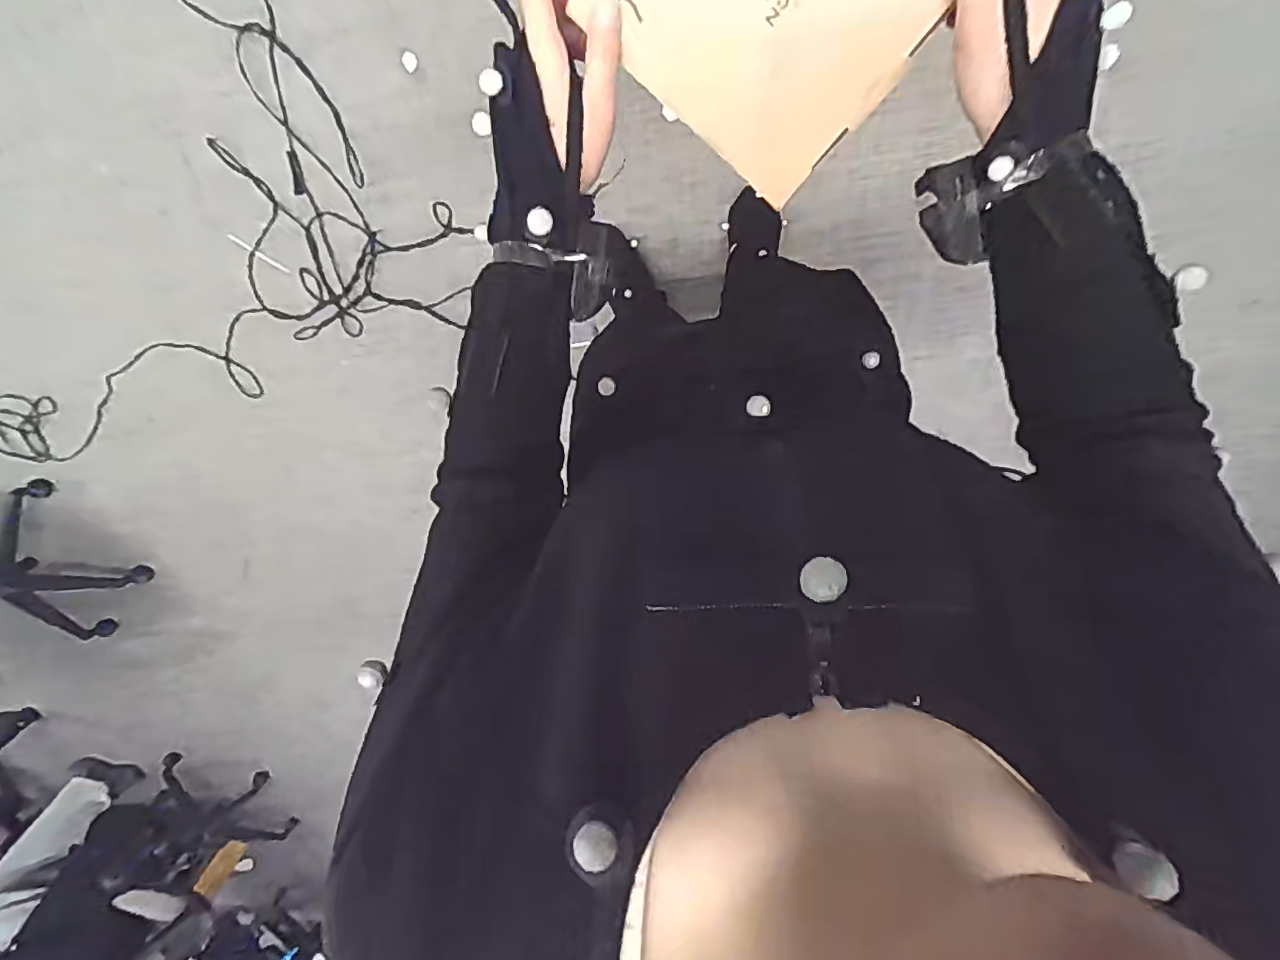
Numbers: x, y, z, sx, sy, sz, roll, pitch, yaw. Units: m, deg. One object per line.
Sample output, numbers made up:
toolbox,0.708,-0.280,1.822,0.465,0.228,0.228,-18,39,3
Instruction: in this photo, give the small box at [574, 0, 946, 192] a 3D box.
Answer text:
small box,0.078,-0.335,0.353,0.179,0.176,0.168,31,125,-21
